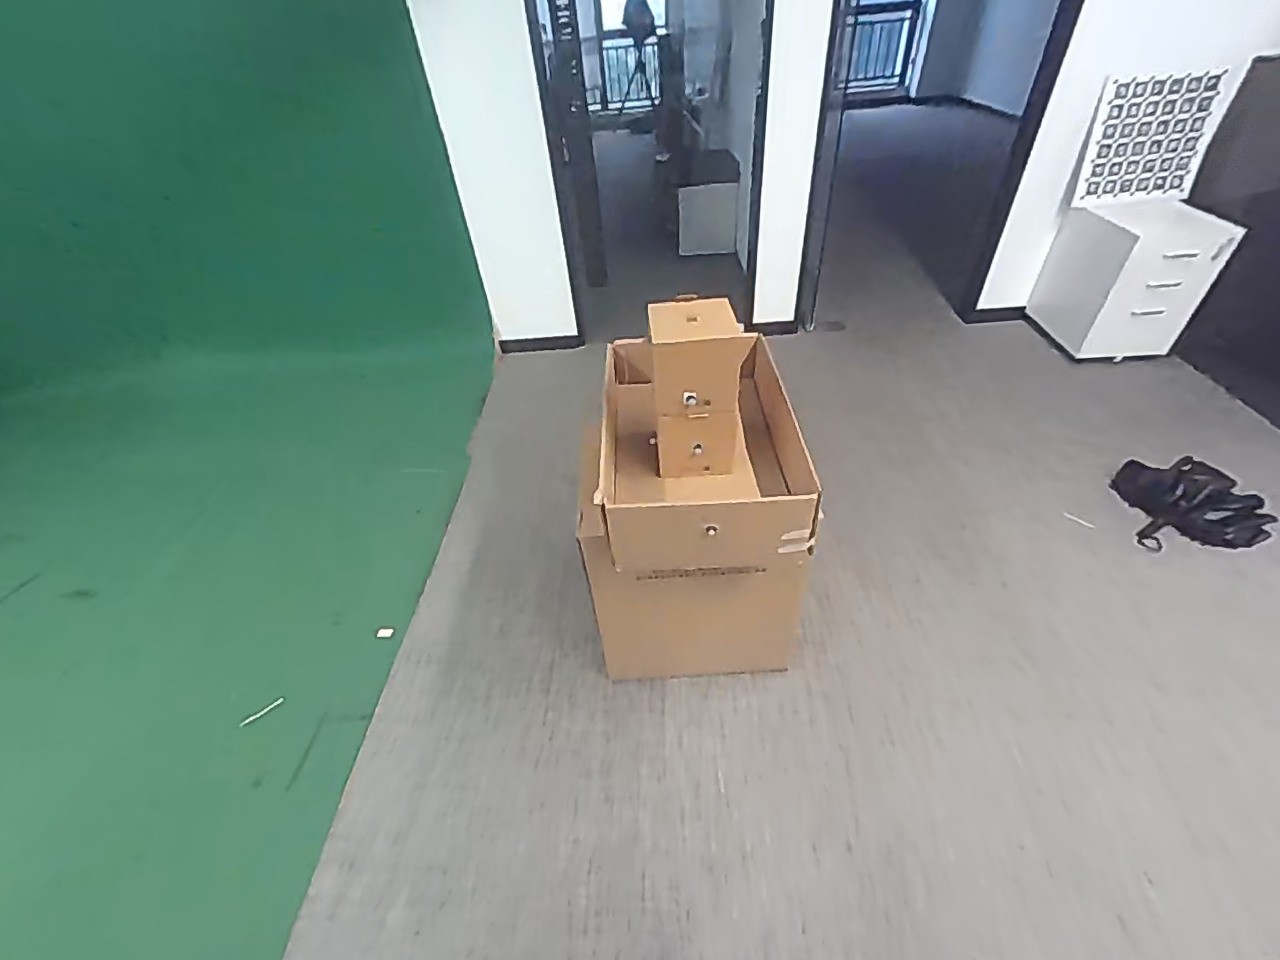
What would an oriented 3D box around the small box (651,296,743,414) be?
[{"bbox_3d":[0.109,-0.254,1.099,0.168,0.176,0.179,-5,42,1],"label":"small box"}]
